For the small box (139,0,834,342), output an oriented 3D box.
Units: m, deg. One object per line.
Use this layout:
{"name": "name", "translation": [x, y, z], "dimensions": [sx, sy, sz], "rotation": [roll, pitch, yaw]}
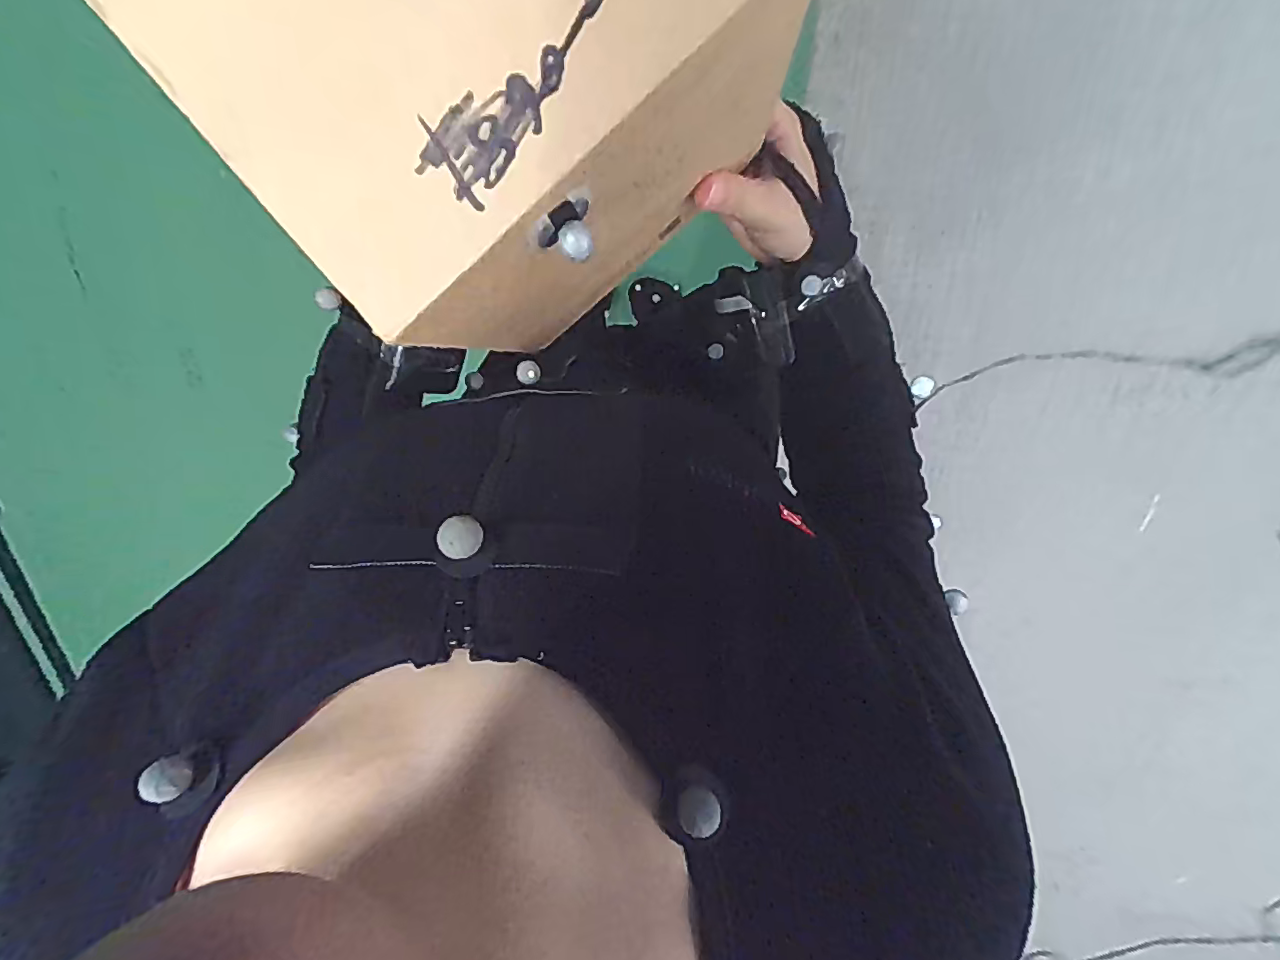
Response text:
{"name": "small box", "translation": [-0.051, -0.174, 0.229], "dimensions": [0.168, 0.176, 0.179], "rotation": [-38, 97, 13]}
